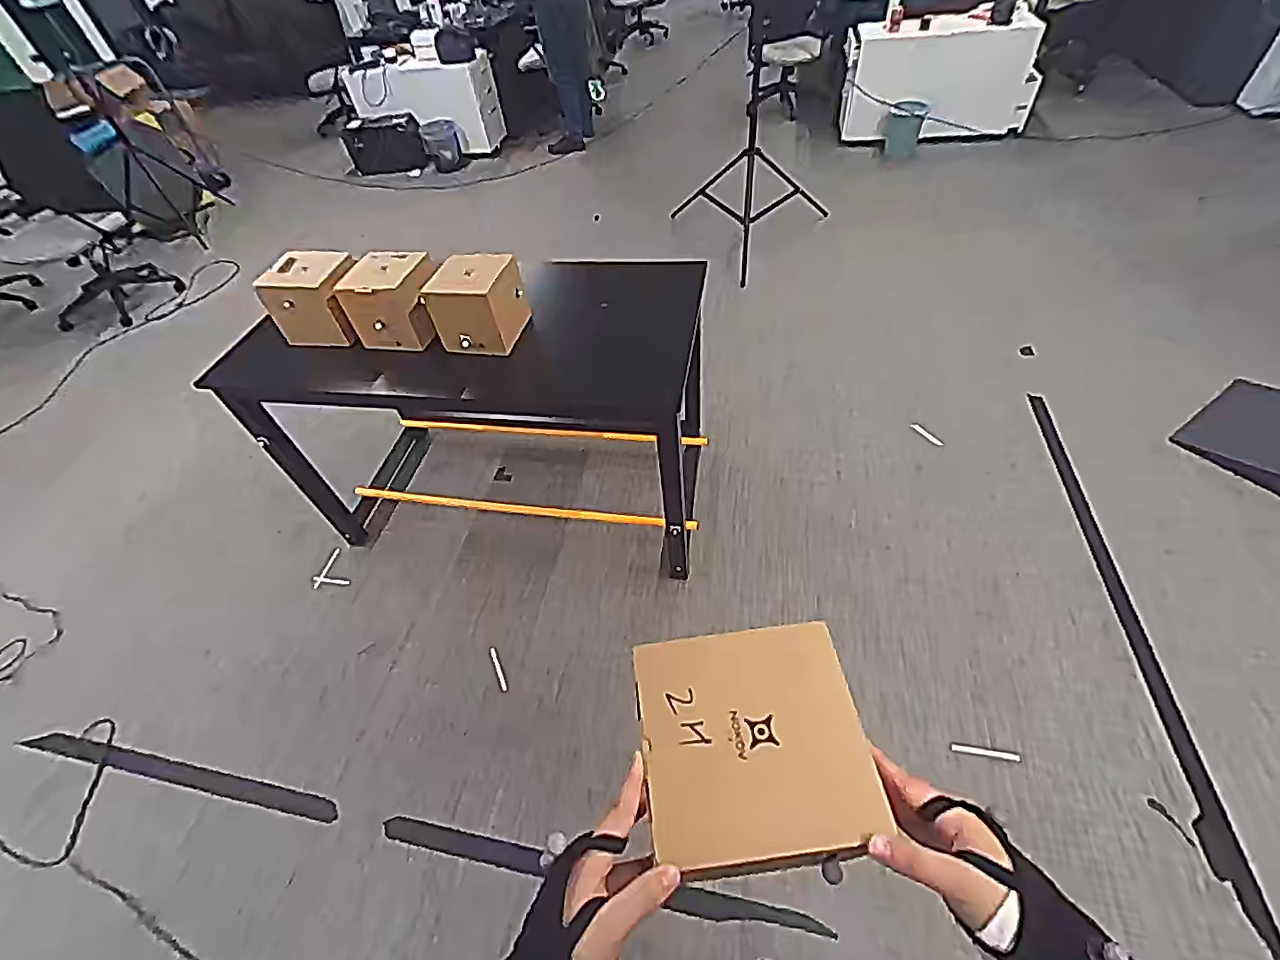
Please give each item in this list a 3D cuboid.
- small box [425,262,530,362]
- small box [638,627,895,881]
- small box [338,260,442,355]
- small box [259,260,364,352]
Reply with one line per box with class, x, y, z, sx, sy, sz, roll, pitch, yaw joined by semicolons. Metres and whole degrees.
small box;-0.381;-0.408;1.310;0.168;0.176;0.179;4;51;12
small box;0.096;0.254;0.496;0.179;0.176;0.168;-8;50;0
small box;-0.601;-0.429;1.353;0.168;0.176;0.179;5;51;11
small box;-0.812;-0.446;1.391;0.179;0.176;0.168;3;50;8
